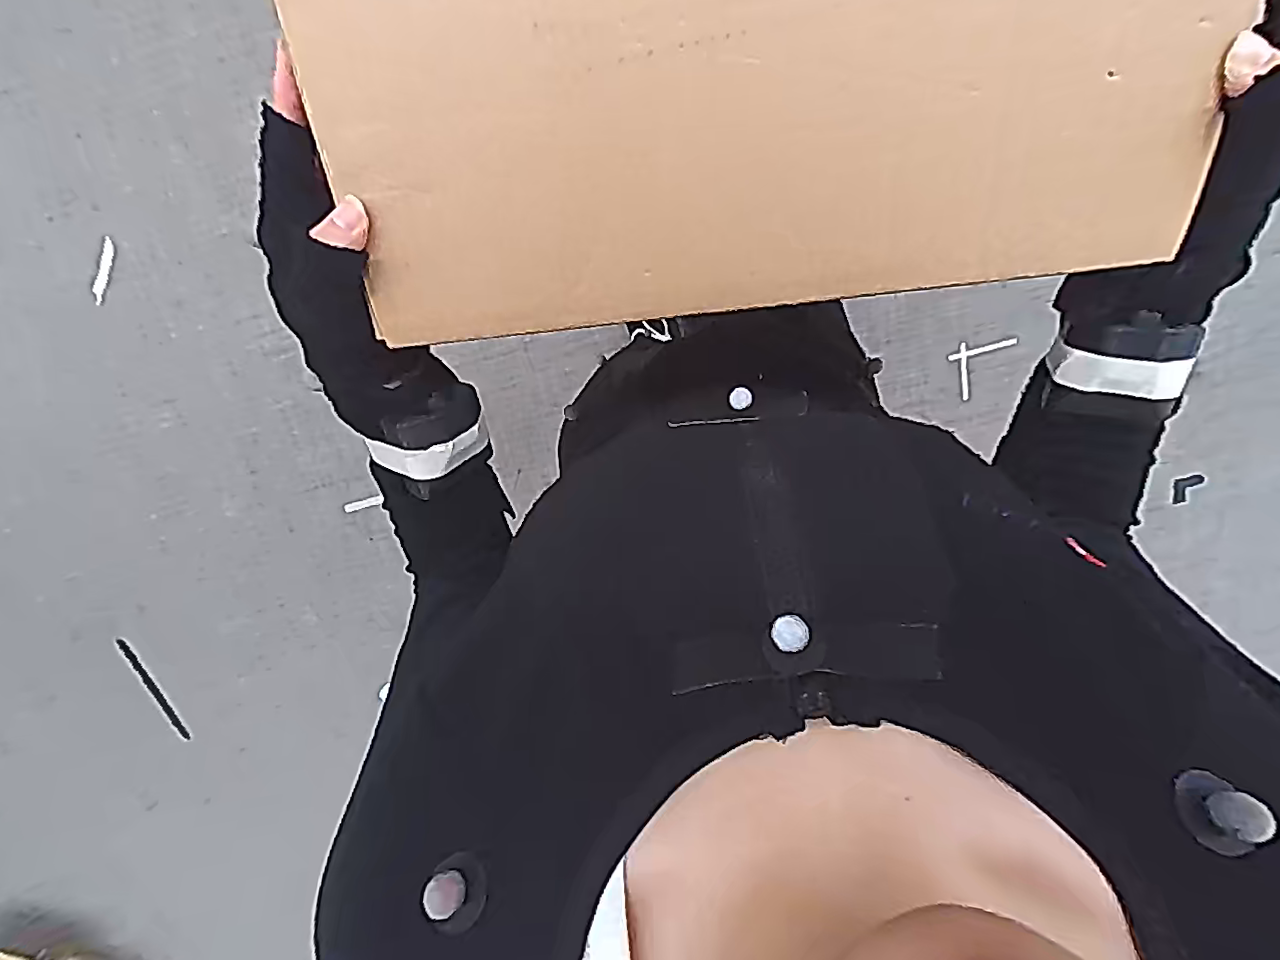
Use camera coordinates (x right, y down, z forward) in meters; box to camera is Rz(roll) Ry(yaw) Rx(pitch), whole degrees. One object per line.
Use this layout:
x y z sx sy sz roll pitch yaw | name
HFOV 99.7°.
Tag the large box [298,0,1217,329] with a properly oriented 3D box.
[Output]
0.044 -0.306 0.351 0.408 0.320 0.320 -6 118 1 | large box
